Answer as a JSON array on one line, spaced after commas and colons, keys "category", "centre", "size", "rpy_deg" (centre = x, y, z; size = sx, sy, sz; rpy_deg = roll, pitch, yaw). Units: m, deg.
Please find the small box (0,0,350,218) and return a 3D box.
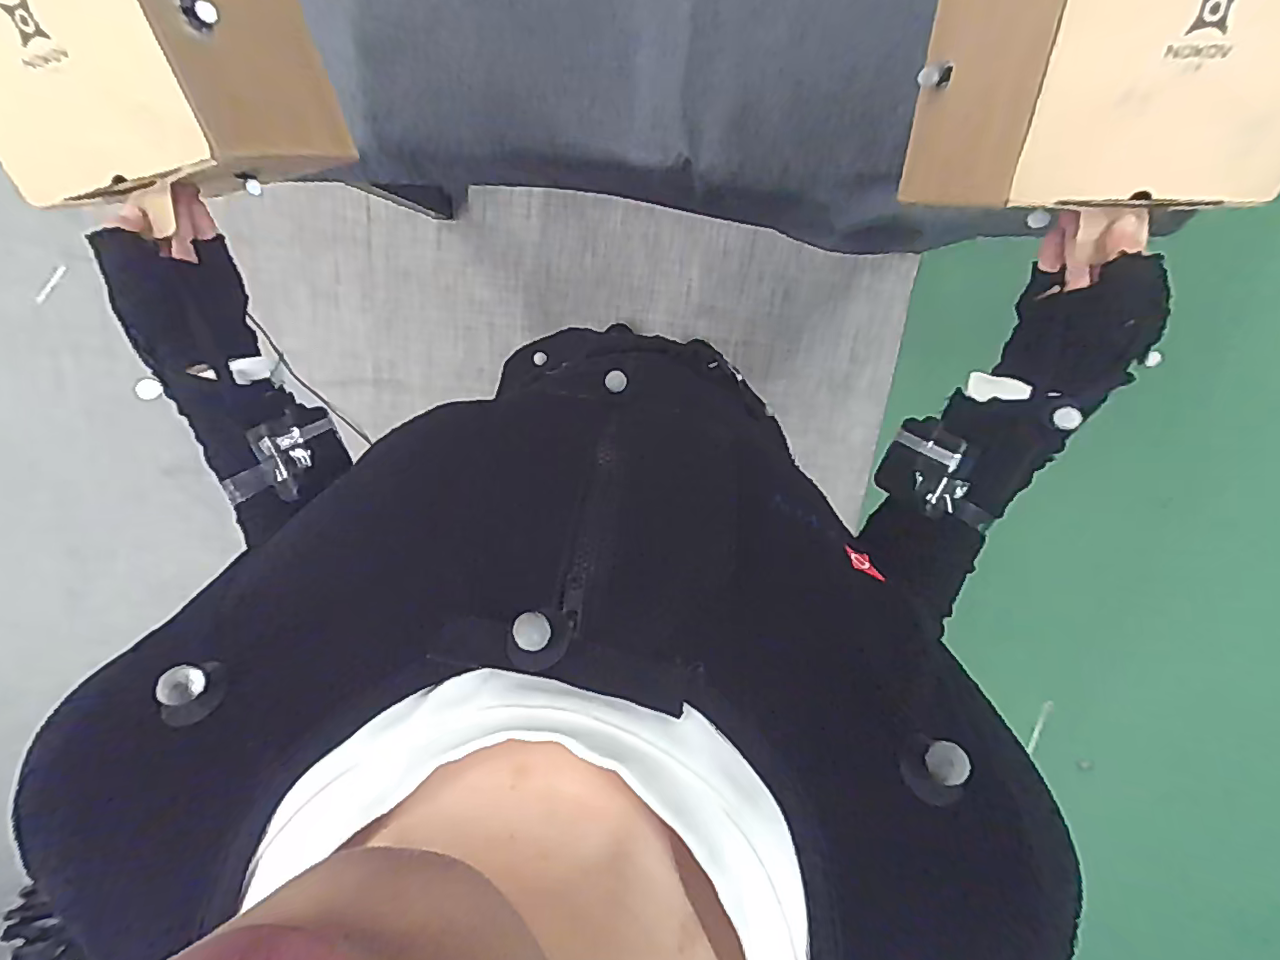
[{"category": "small box", "centre": [-0.356, -0.309, 0.395], "size": [0.168, 0.176, 0.179], "rpy_deg": [-6, 118, 12]}]
